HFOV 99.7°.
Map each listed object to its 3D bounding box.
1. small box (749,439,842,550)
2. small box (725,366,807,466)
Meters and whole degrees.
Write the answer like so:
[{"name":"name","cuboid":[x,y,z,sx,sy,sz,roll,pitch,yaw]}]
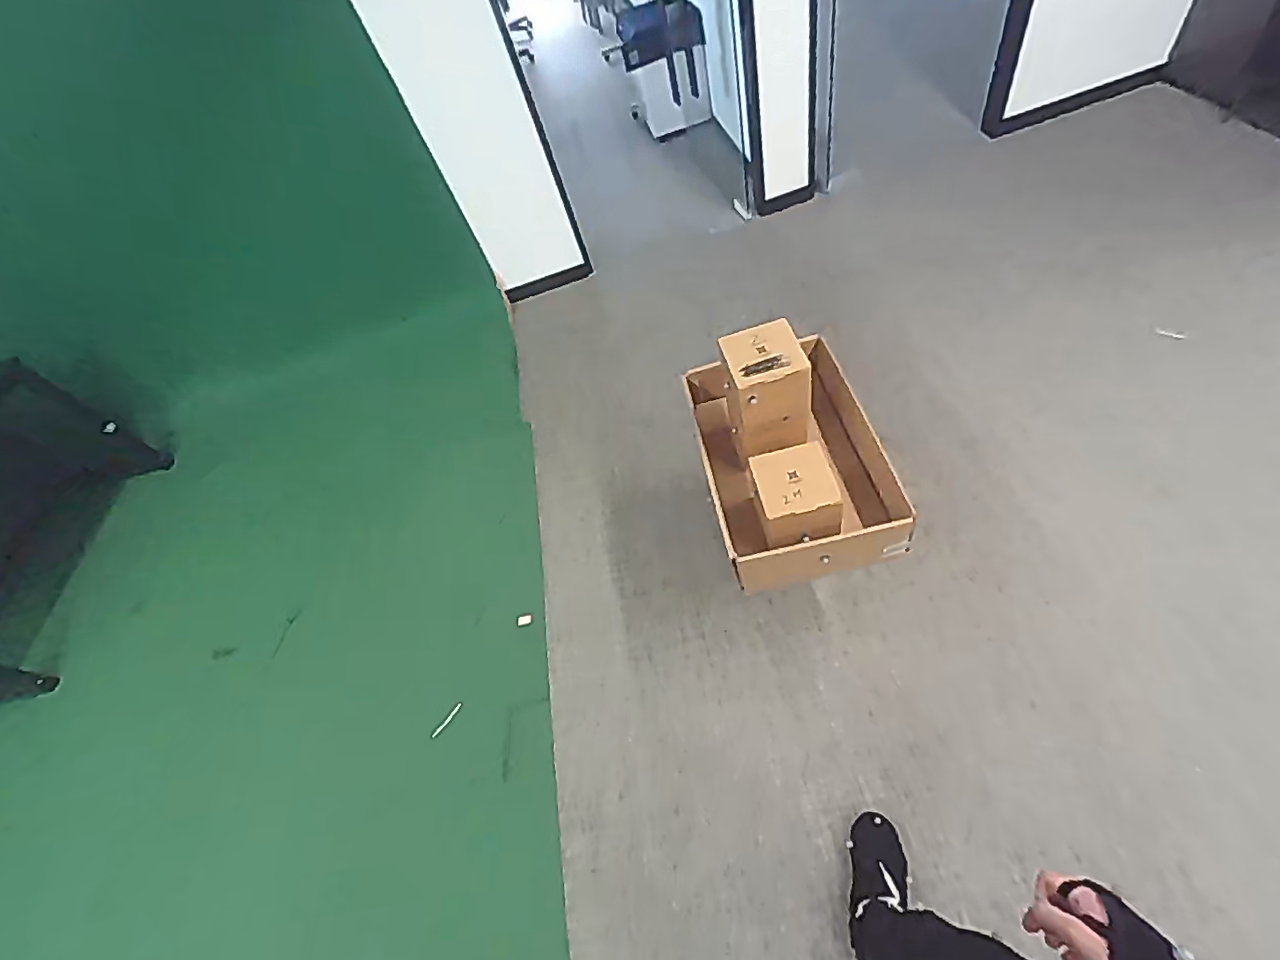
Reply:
[{"name":"small box","cuboid":[0.357,0.036,1.257,0.168,0.176,0.179,-15,52,8]},{"name":"small box","cuboid":[0.327,-0.161,1.415,0.168,0.176,0.179,-16,55,6]}]
